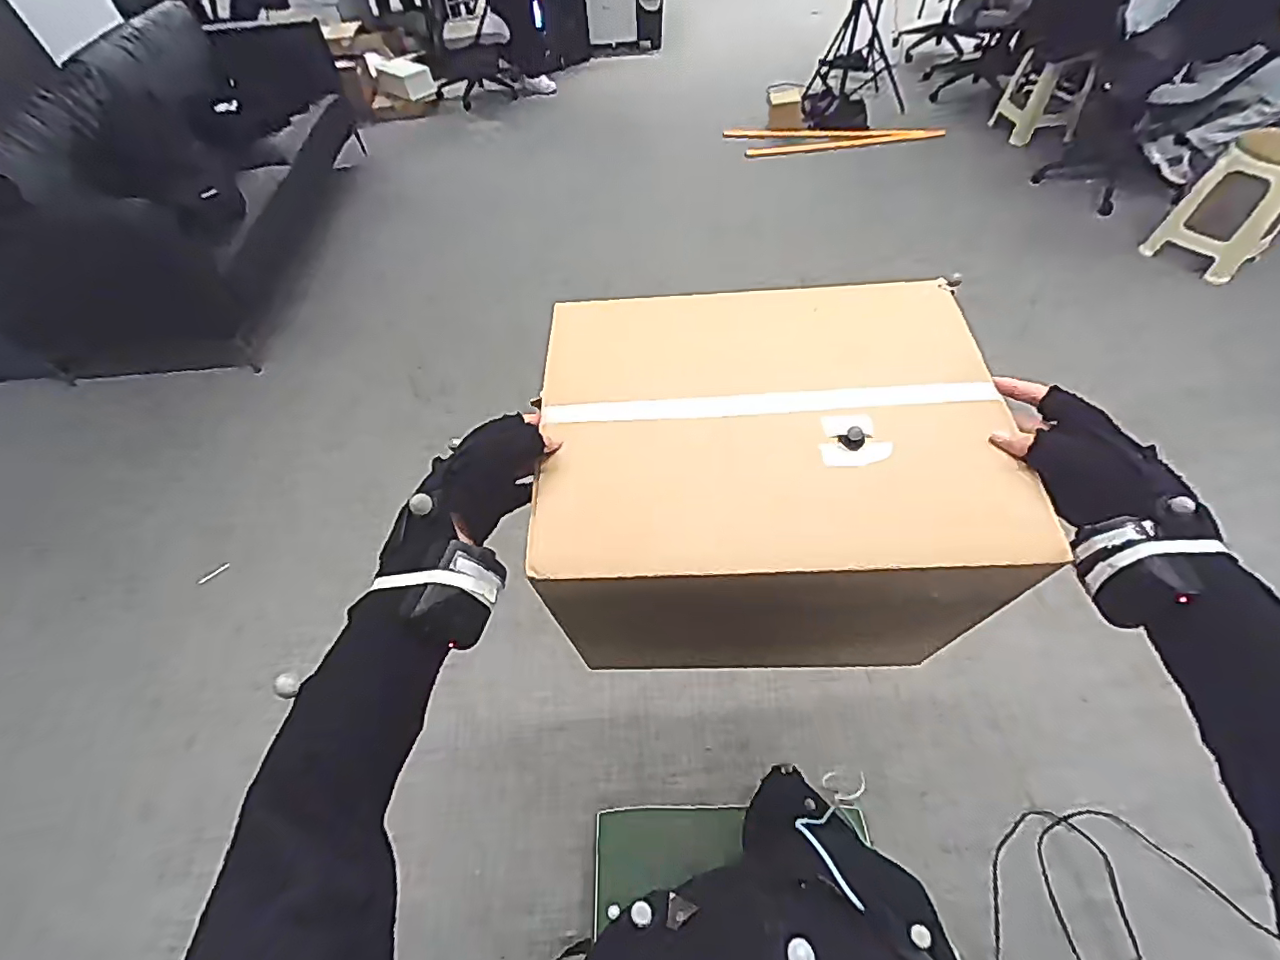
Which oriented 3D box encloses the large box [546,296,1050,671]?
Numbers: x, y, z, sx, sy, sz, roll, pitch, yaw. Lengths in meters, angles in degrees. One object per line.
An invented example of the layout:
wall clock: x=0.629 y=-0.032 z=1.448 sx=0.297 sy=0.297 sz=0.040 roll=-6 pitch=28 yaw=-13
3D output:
large box: x=0.125 y=0.023 z=0.627 sx=0.408 sy=0.320 sz=0.320 roll=-2 pitch=58 yaw=3
